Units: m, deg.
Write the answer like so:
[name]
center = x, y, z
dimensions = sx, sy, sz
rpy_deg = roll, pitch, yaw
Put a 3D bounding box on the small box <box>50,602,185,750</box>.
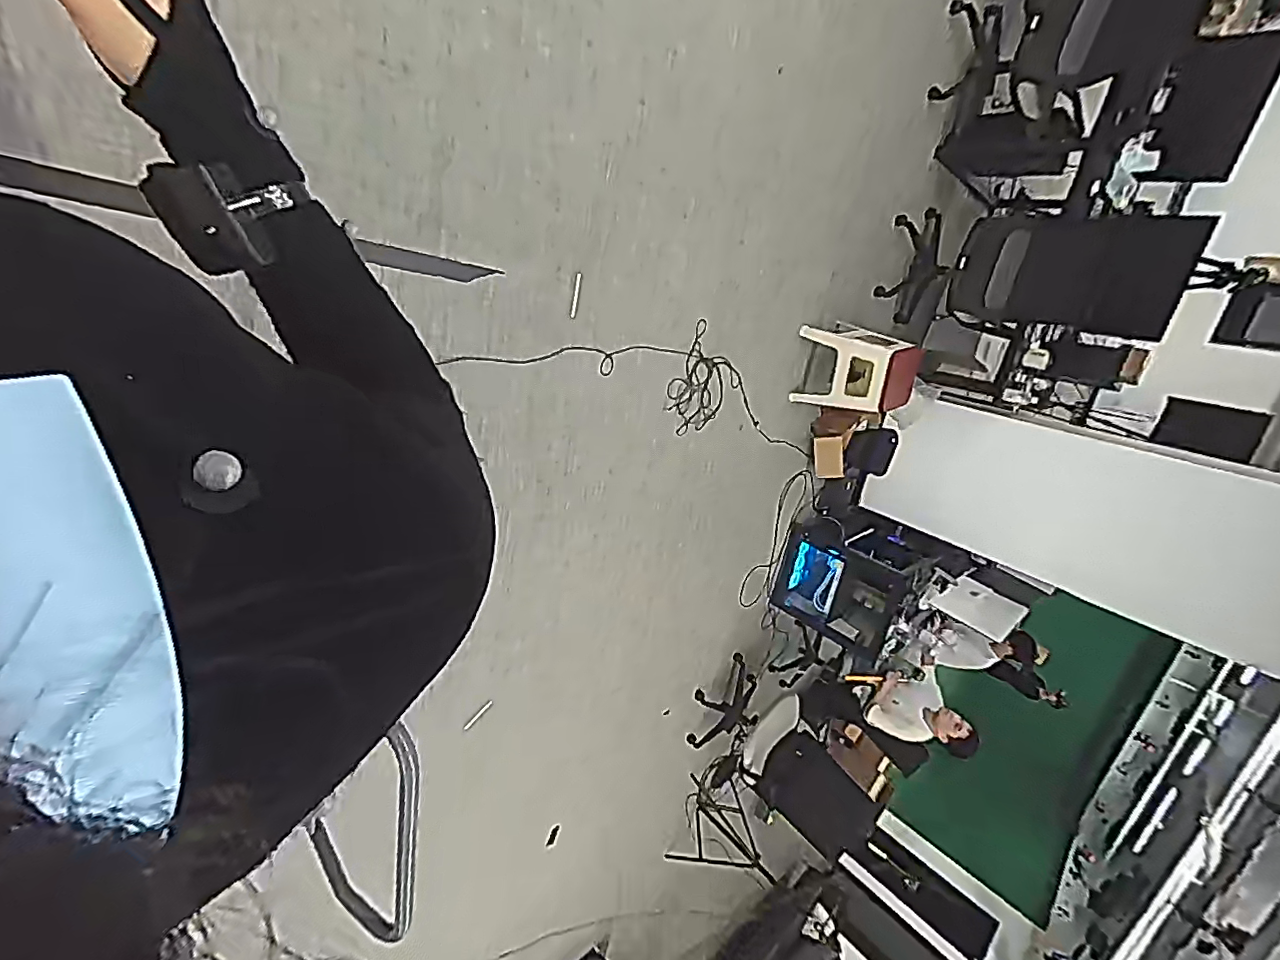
[small box]
center = -0.993, 0.363, 1.035
dimensions = 0.168, 0.176, 0.179
rpy_deg = -9, 116, -44
